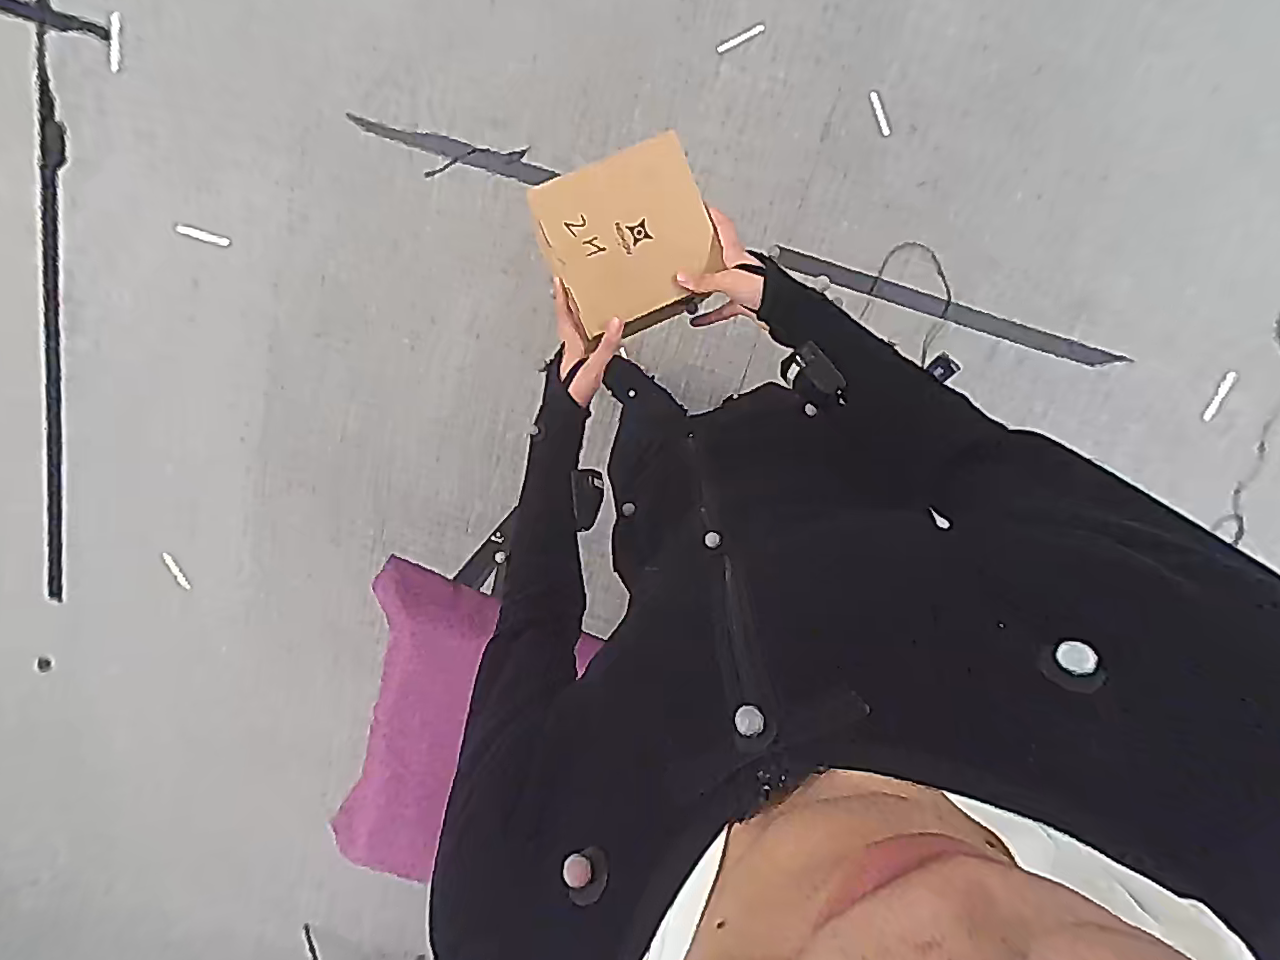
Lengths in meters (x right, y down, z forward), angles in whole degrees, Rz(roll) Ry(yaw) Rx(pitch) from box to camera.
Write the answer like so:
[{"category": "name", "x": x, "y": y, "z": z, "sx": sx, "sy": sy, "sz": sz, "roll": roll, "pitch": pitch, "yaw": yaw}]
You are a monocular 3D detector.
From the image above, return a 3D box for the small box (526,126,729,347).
[{"category": "small box", "x": -0.020, "y": -0.275, "z": 0.652, "sx": 0.179, "sy": 0.176, "sz": 0.168, "roll": -24, "pitch": 99, "yaw": -2}]

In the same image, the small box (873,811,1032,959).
[{"category": "small box", "x": 0.538, "y": 0.744, "z": 0.965, "sx": 0.168, "sy": 0.176, "sz": 0.179, "roll": 13, "pitch": 105, "yaw": 2}]
